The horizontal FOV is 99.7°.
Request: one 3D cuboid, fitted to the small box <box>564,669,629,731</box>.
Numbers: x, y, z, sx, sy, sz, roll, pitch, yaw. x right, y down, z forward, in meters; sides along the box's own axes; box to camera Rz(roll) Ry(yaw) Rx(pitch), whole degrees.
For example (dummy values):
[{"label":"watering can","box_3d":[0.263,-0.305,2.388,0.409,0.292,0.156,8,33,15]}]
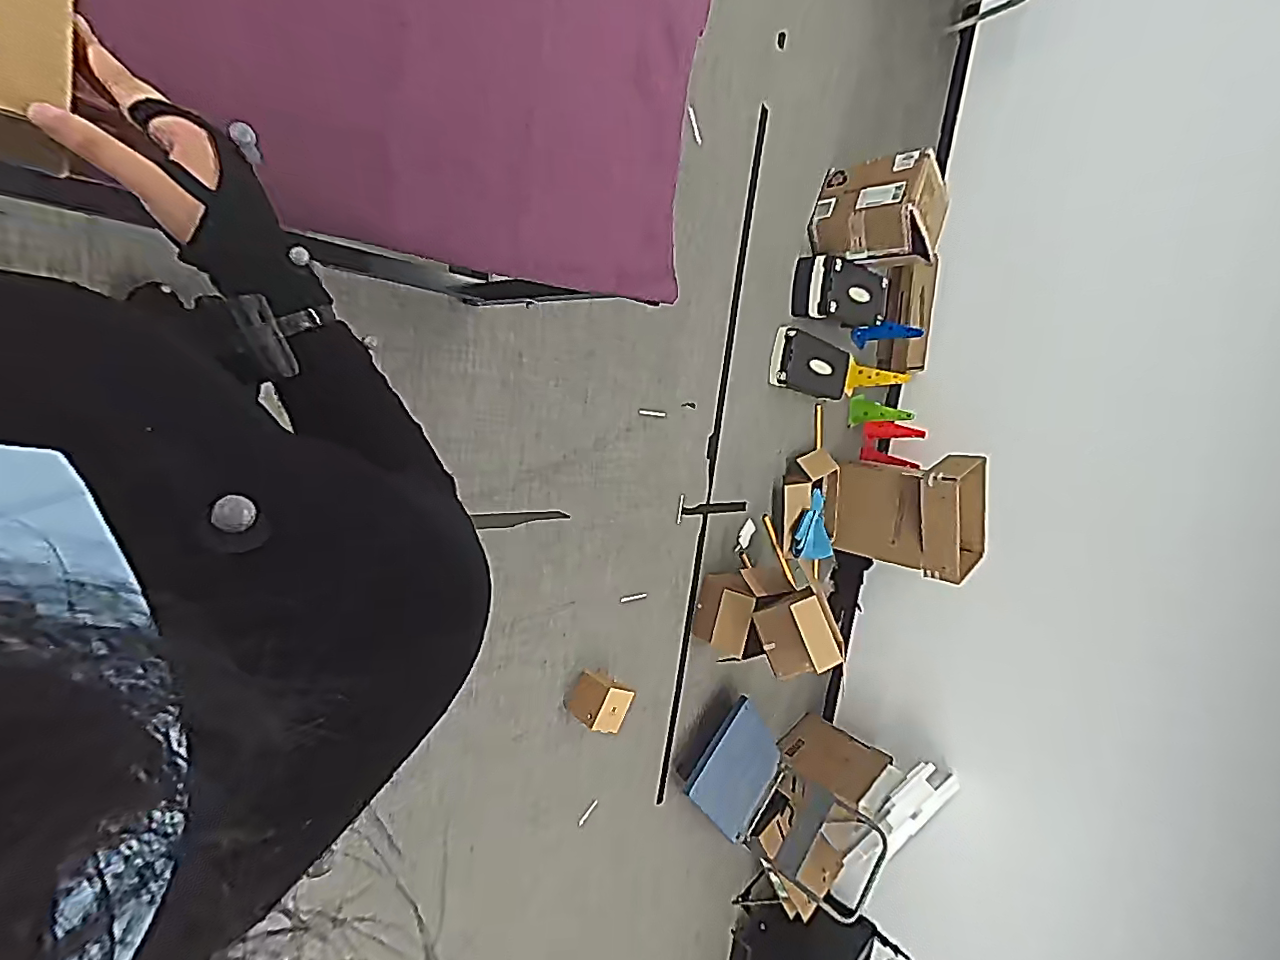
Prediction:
[{"label":"small box","box_3d":[-0.181,0.895,2.202,0.168,0.176,0.179,35,77,-46]}]
